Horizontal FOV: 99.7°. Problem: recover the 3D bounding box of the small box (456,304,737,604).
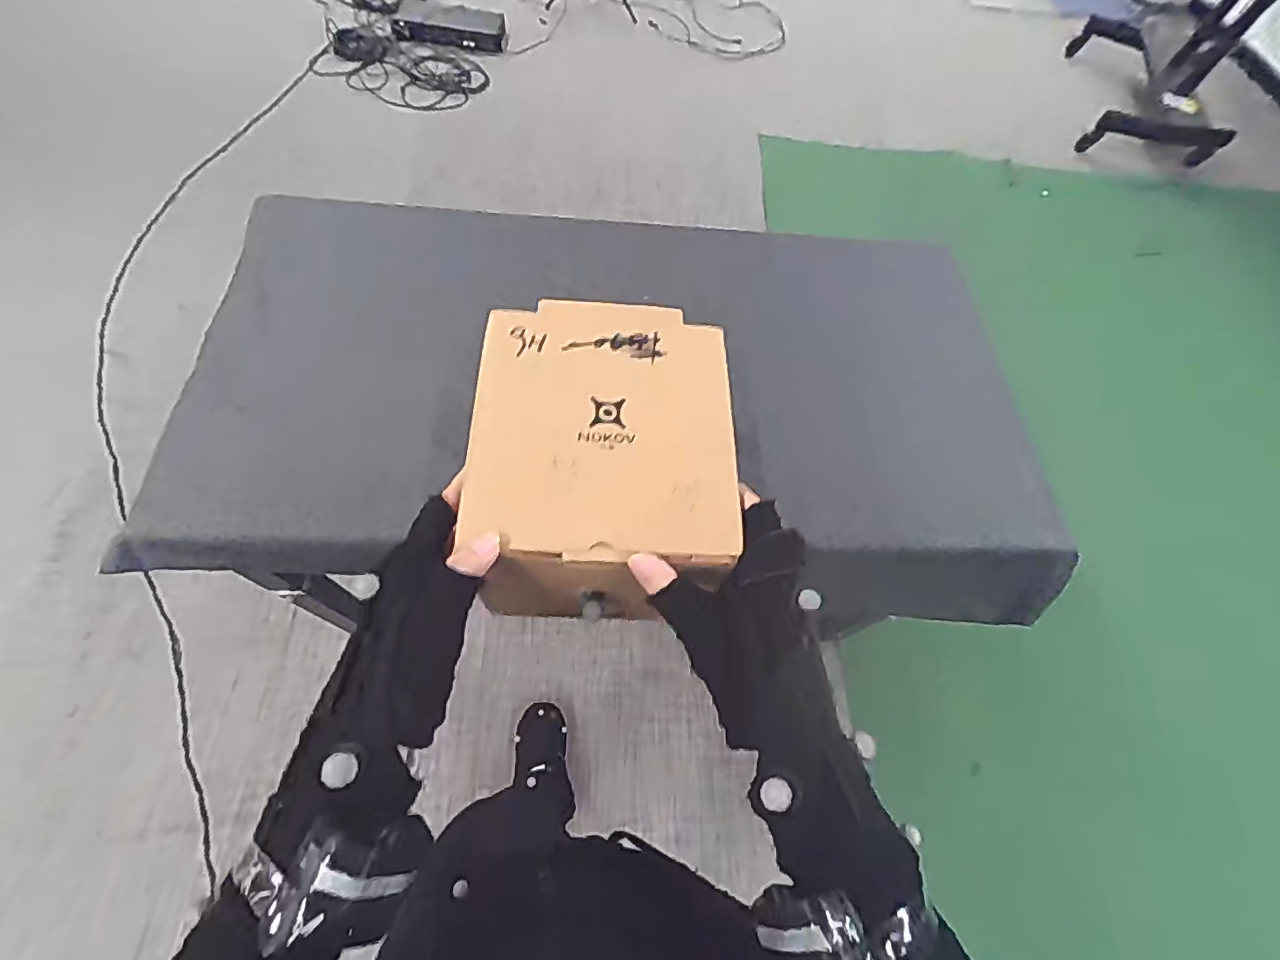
[{"bbox_3d":[-0.031,-0.005,0.415,0.168,0.176,0.179,3,65,-6],"label":"small box"}]
